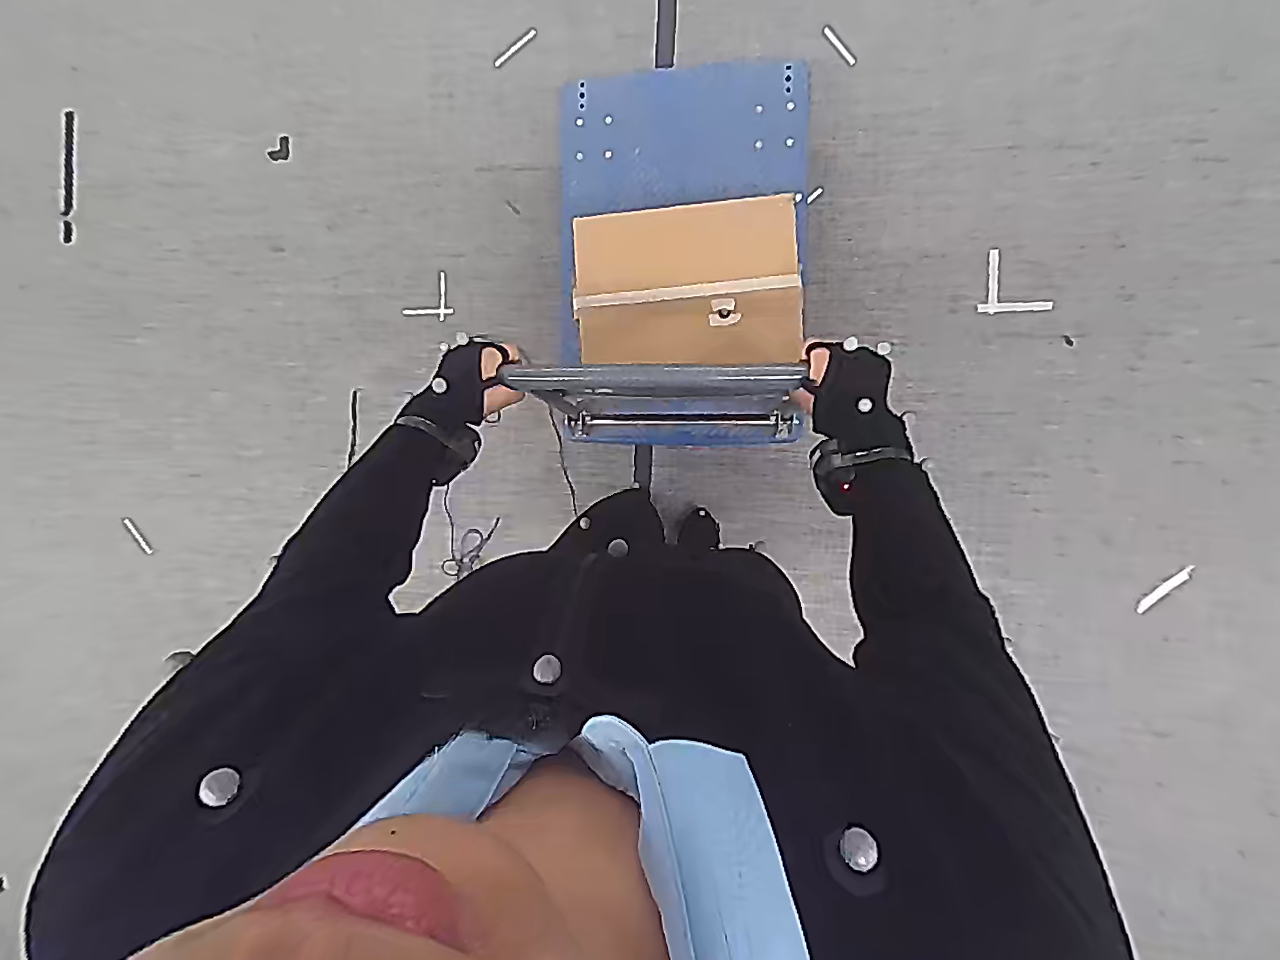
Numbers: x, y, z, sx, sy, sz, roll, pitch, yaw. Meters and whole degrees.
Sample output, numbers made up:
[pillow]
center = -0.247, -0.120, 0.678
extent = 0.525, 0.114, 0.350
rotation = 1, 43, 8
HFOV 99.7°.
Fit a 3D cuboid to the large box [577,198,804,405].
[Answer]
[large box]
center = 0.103, -0.344, 1.141
extent = 0.408, 0.320, 0.320
rotation = -4, 92, 6
